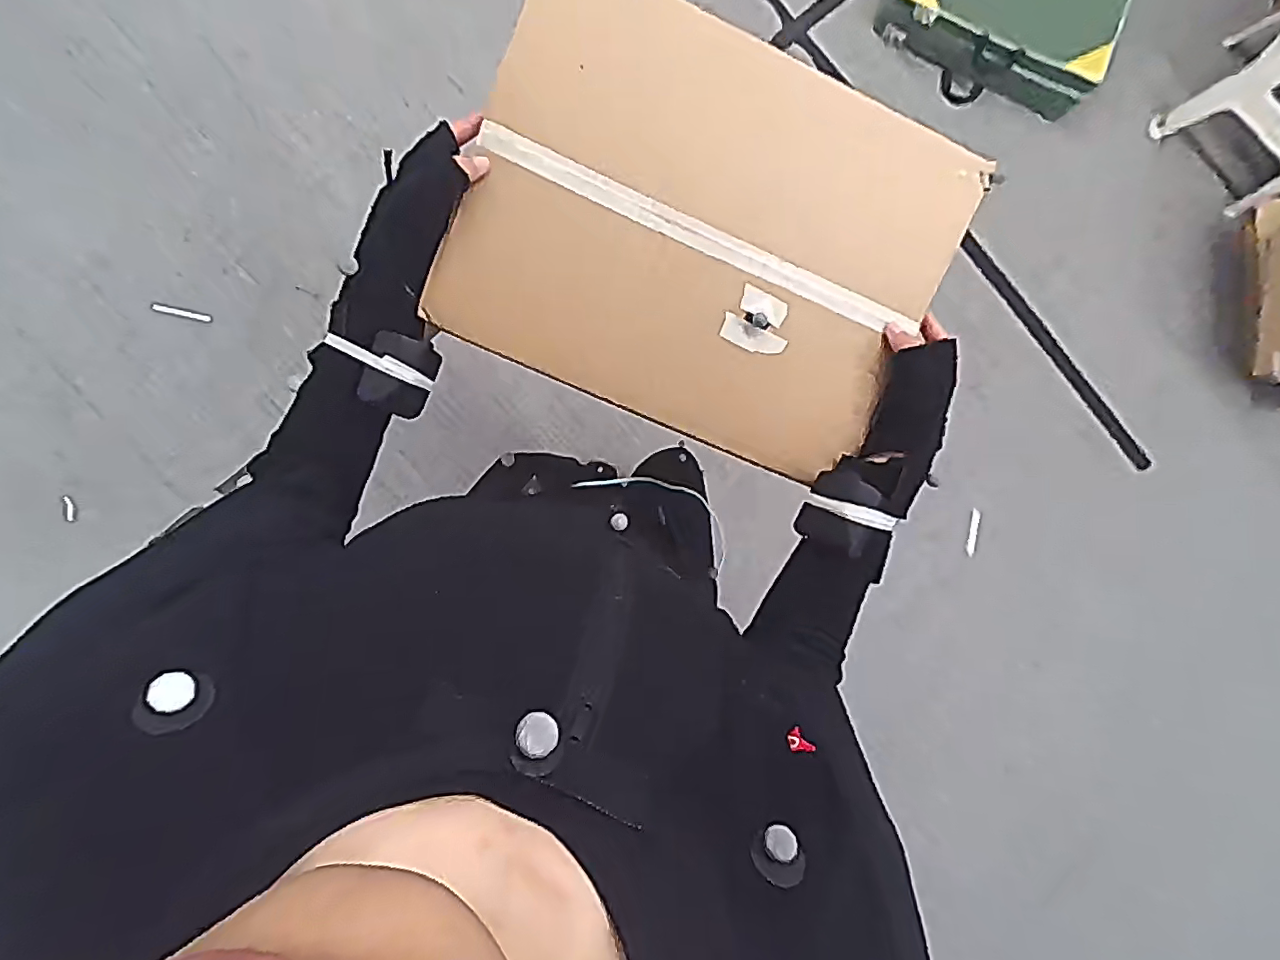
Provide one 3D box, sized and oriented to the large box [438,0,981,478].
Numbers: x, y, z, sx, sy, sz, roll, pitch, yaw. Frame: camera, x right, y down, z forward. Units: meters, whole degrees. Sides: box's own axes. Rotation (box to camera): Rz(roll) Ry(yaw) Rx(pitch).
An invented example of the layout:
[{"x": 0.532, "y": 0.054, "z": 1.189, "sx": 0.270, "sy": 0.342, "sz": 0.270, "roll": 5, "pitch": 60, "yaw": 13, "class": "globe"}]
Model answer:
[{"x": 0.051, "y": -0.234, "z": 0.616, "sx": 0.408, "sy": 0.320, "sz": 0.320, "roll": 23, "pitch": 98, "yaw": -7, "class": "large box"}]
